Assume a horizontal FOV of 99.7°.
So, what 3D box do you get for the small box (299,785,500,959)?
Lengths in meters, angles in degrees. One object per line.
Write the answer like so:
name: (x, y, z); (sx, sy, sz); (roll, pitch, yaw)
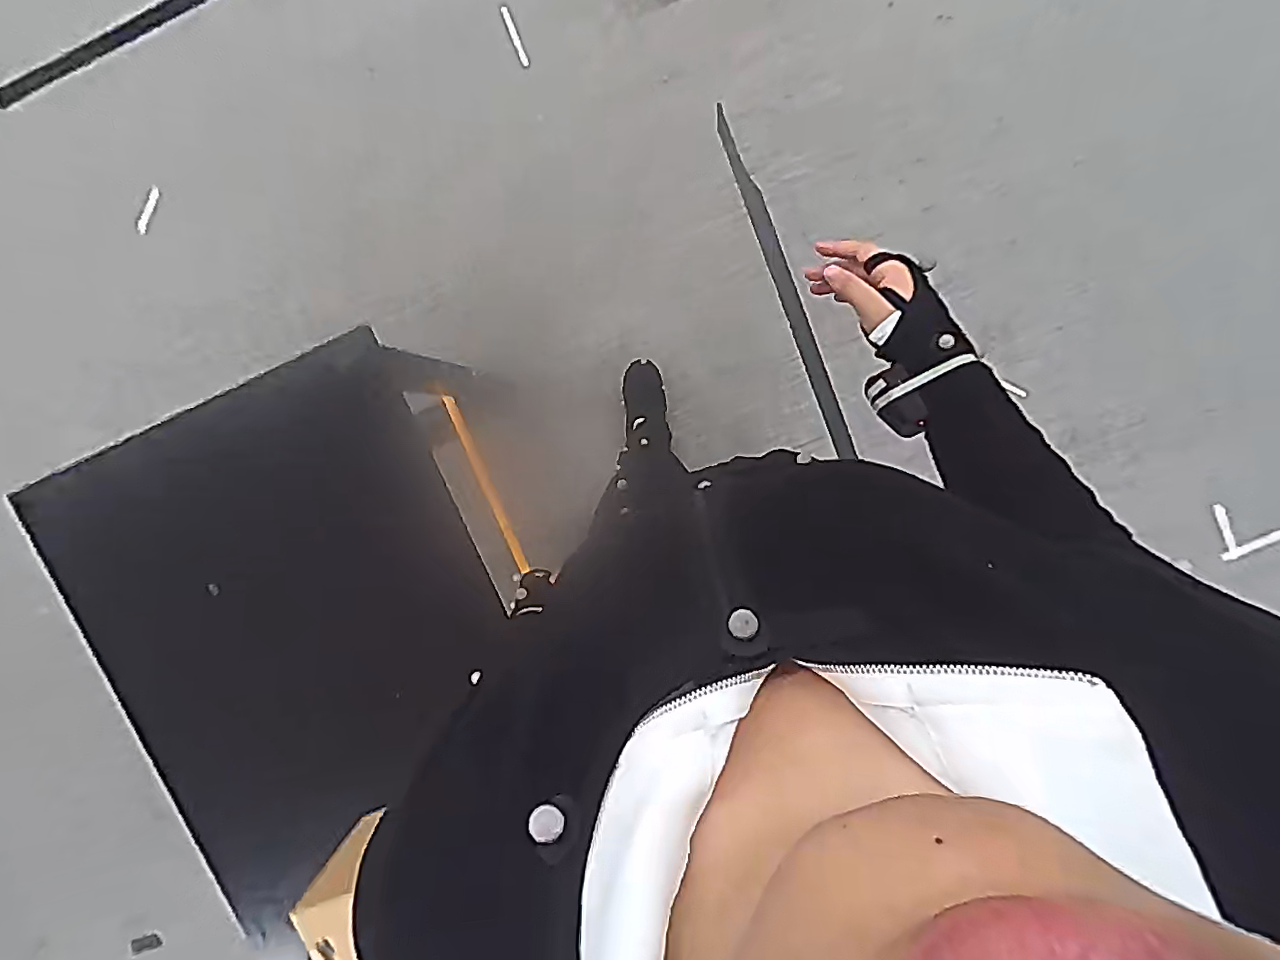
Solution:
small box: (-0.311, 0.566, 0.749); (0.179, 0.176, 0.168); (-23, 95, 4)
